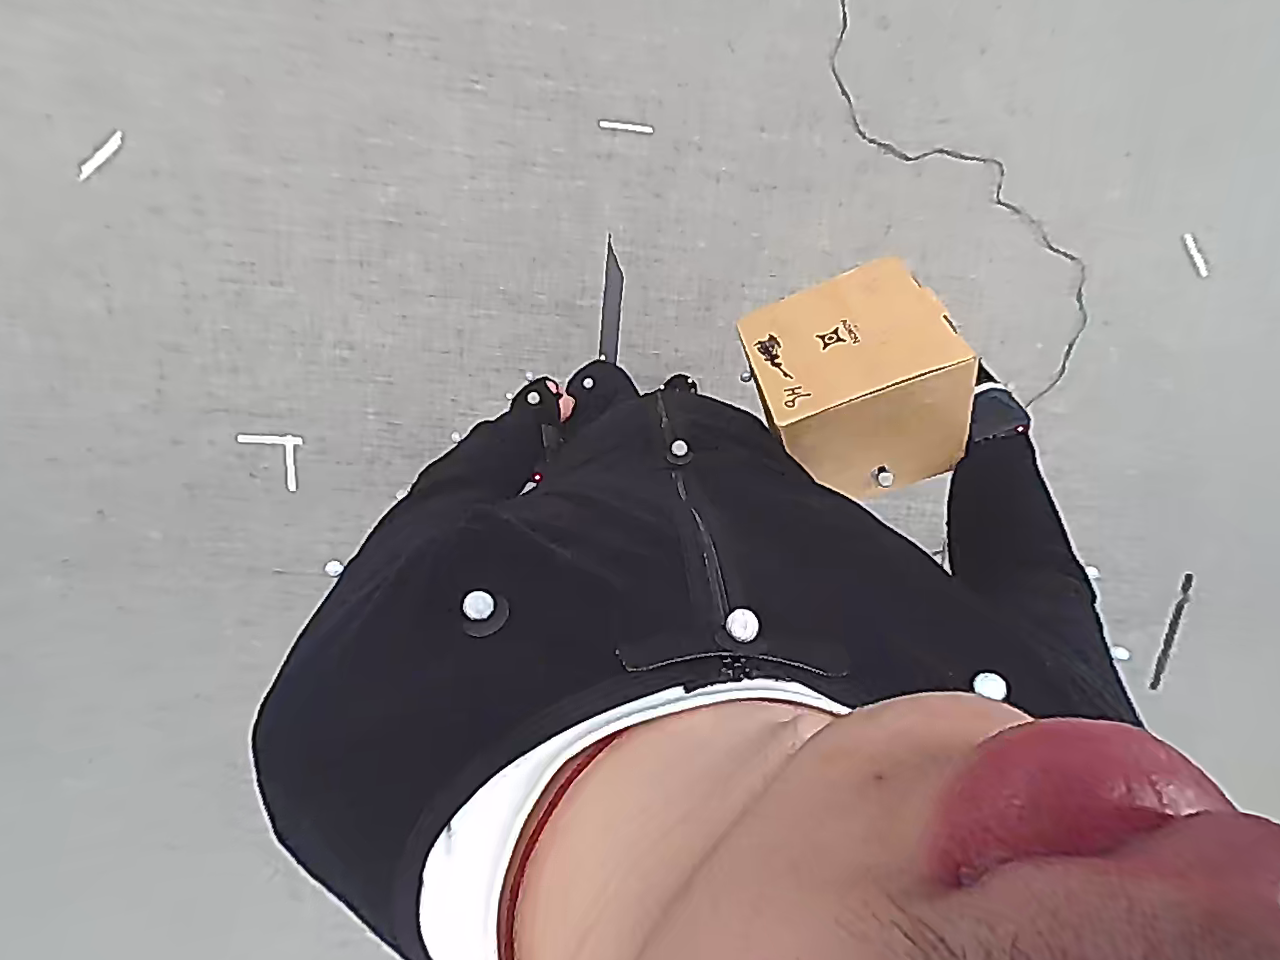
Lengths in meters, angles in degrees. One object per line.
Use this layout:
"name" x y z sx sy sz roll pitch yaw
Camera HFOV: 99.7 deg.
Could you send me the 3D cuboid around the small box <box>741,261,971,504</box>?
"small box" 0.231 -0.100 0.601 0.179 0.168 0.176 -20 140 12
